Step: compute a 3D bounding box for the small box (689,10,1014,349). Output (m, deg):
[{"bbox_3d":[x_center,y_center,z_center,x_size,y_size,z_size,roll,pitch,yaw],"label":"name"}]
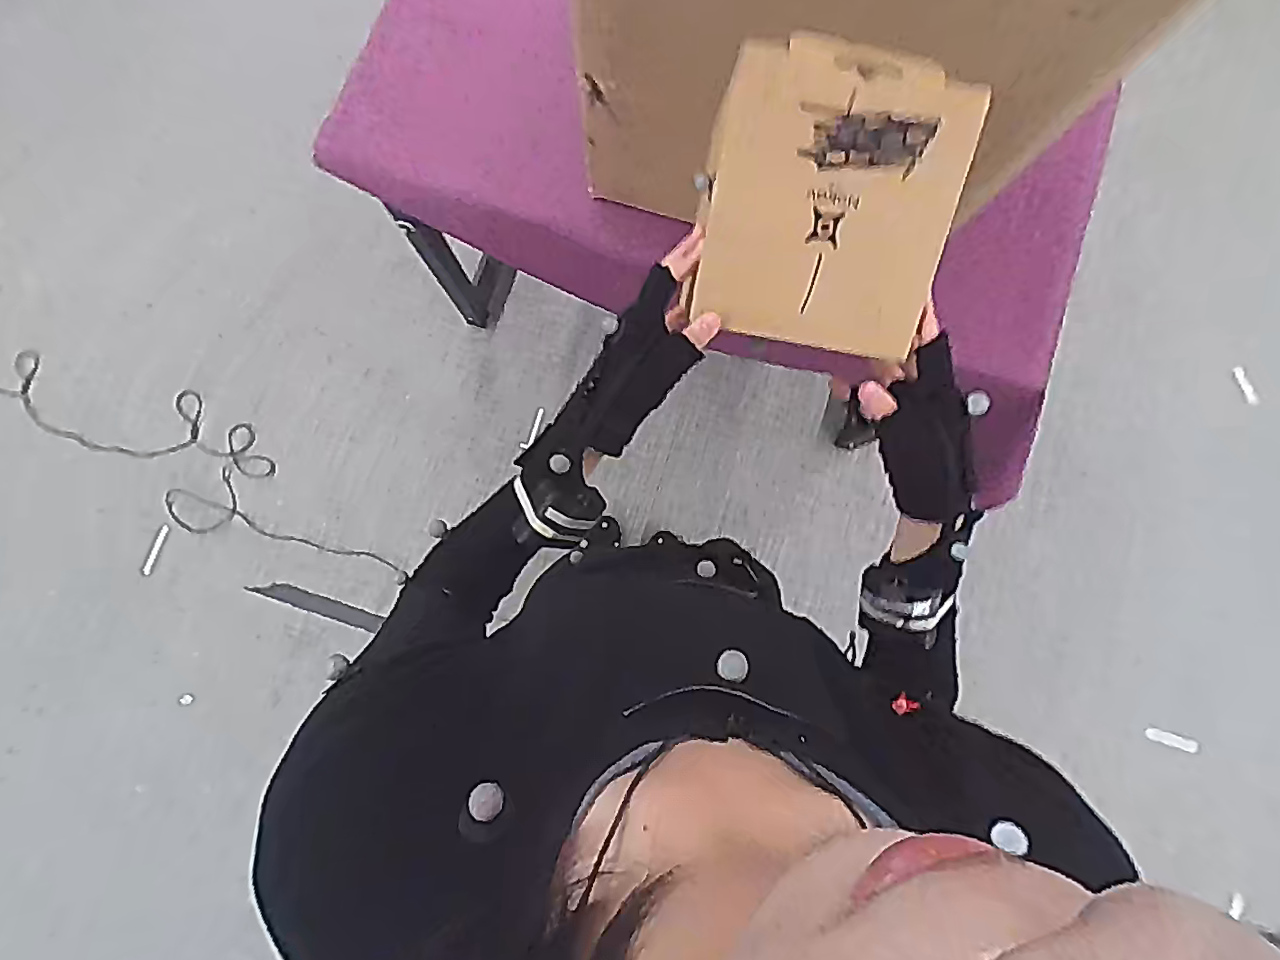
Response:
[{"bbox_3d":[0.136,-0.211,0.427,0.168,0.176,0.179,9,109,-2],"label":"small box"}]
